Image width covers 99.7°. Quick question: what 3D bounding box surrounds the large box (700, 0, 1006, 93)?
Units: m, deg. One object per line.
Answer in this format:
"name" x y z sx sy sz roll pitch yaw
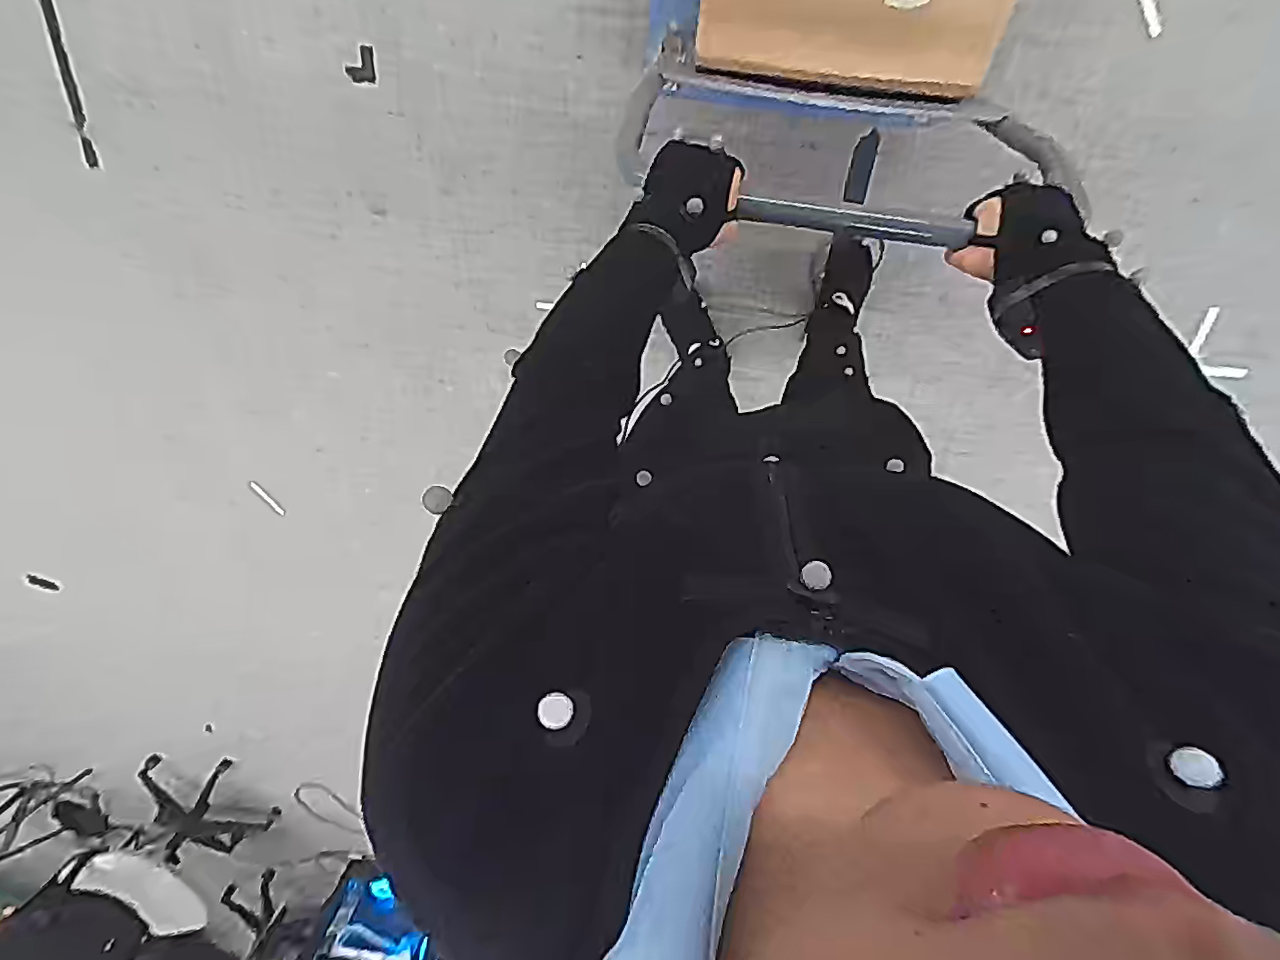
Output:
"large box" 0.305 -0.790 0.803 0.408 0.320 0.320 7 130 2
